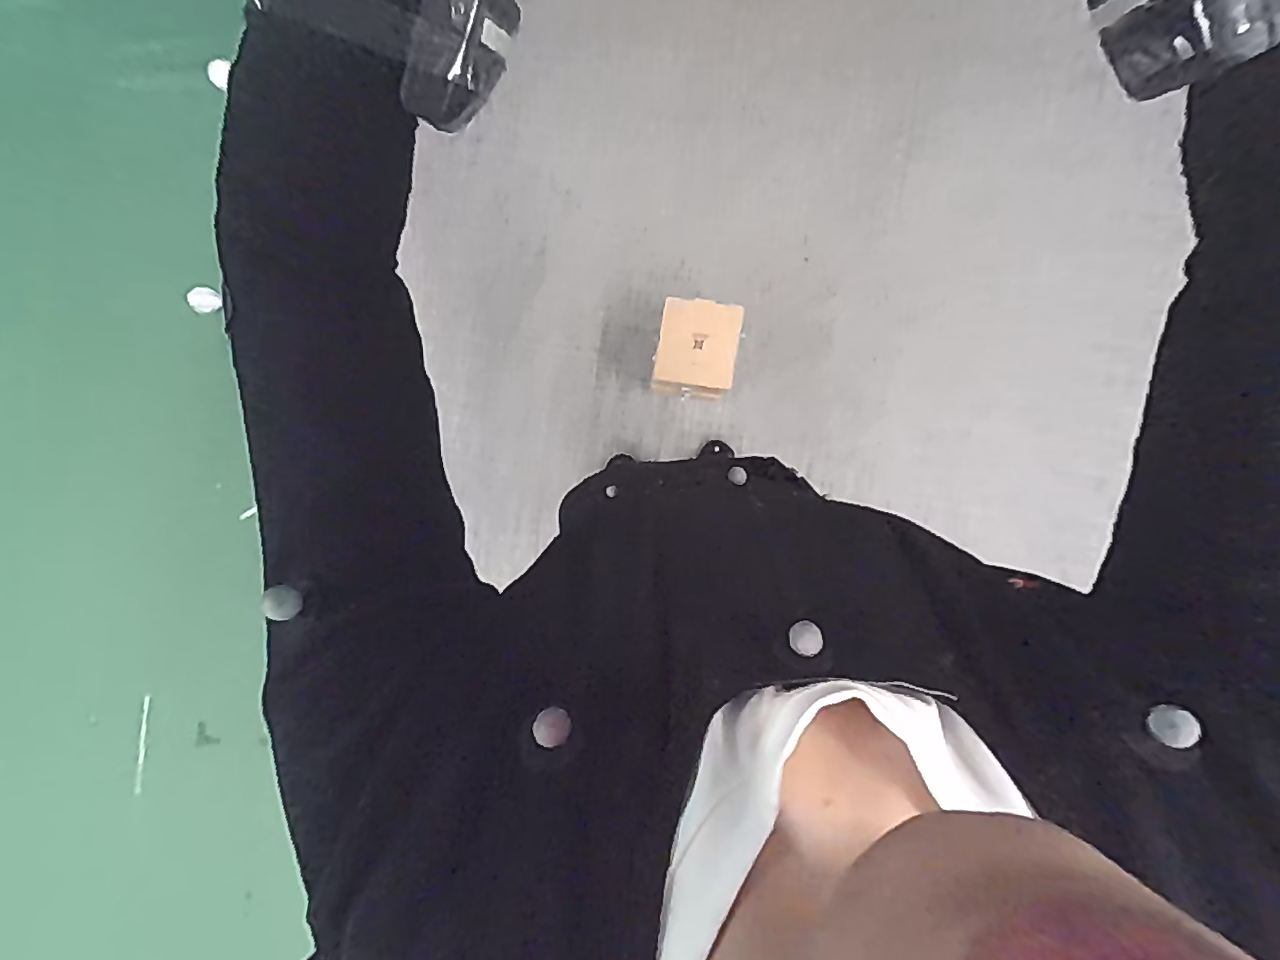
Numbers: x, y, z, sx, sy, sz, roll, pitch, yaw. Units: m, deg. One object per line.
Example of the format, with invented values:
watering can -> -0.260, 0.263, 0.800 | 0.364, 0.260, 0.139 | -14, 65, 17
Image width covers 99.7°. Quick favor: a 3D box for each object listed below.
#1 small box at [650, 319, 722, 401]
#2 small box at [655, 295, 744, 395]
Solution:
small box -> 0.130, -0.297, 1.368 | 0.179, 0.176, 0.168 | 10, 94, 6
small box -> 0.131, -0.294, 1.206 | 0.168, 0.176, 0.179 | 9, 95, 6
